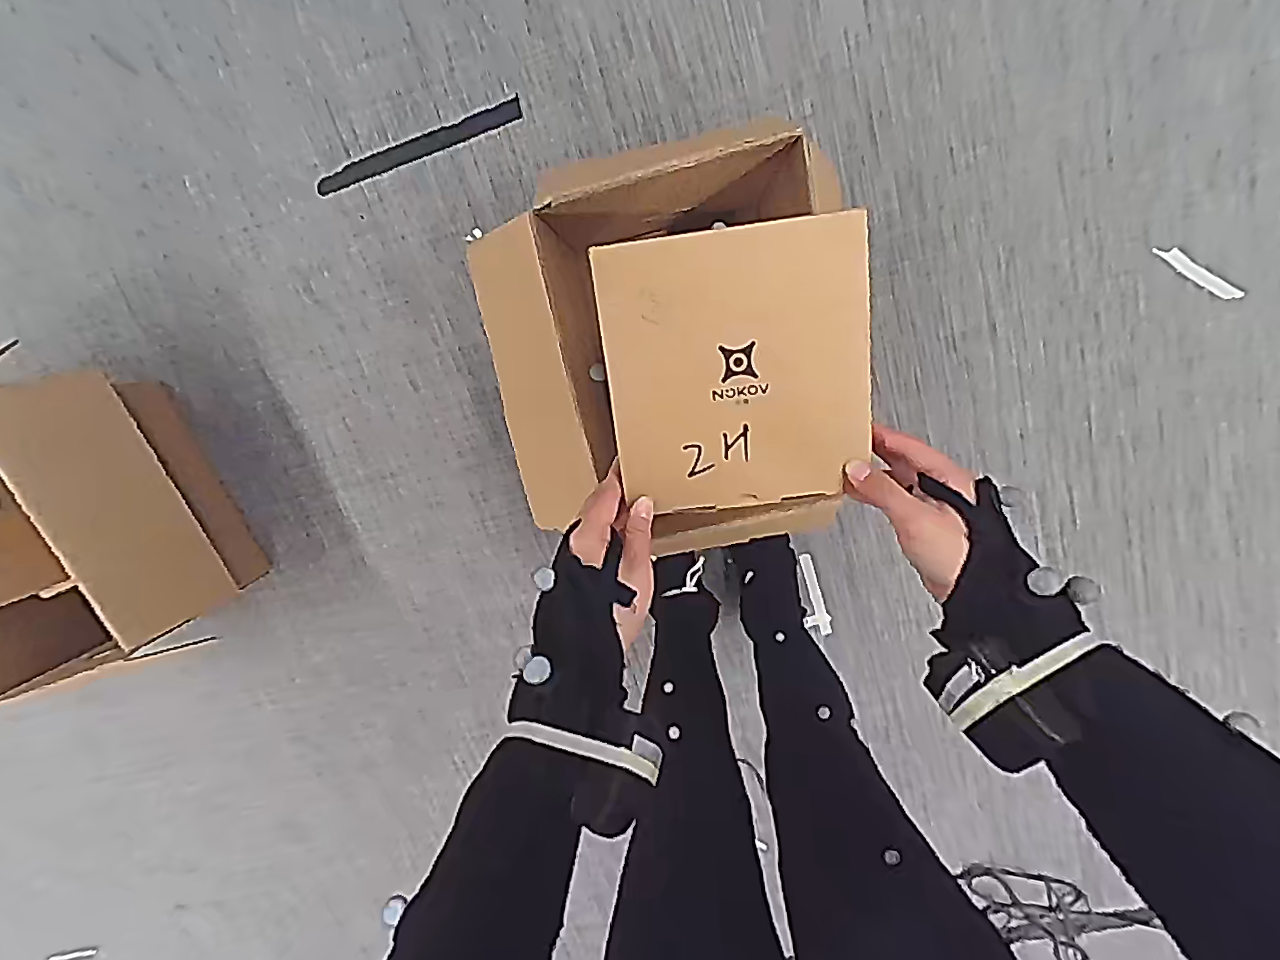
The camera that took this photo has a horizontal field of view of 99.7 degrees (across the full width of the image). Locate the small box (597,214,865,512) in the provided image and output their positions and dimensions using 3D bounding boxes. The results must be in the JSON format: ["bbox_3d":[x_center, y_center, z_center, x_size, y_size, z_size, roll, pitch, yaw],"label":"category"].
[{"bbox_3d":[0.064,-0.089,0.427,0.168,0.176,0.179,-6,105,4],"label":"small box"}]
